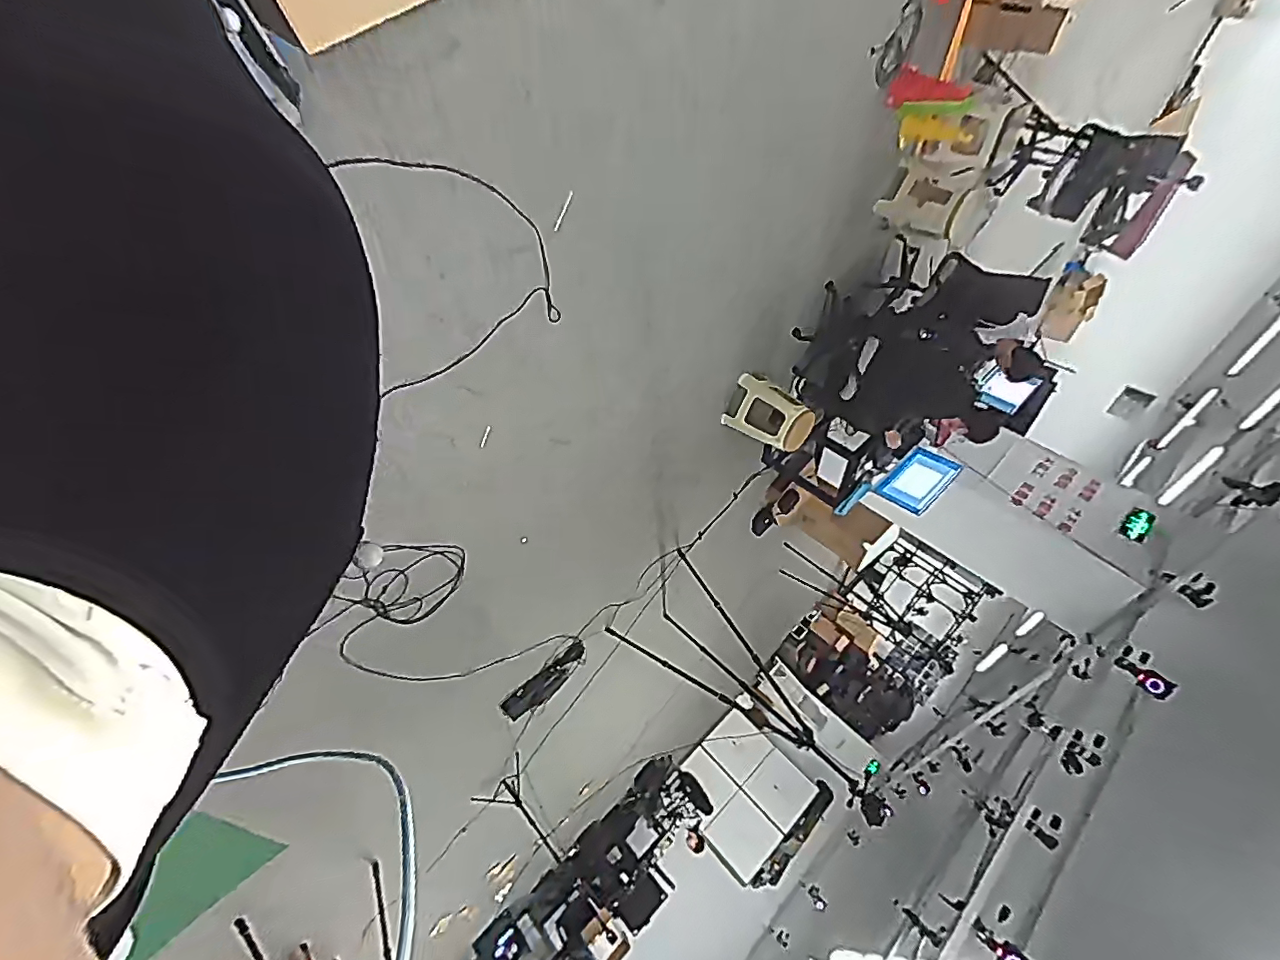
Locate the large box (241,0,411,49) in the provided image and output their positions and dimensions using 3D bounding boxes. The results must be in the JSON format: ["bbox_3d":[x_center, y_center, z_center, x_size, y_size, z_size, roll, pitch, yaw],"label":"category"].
[{"bbox_3d":[-0.496,-0.955,0.841,0.408,0.320,0.320,-39,148,-14],"label":"large box"}]
